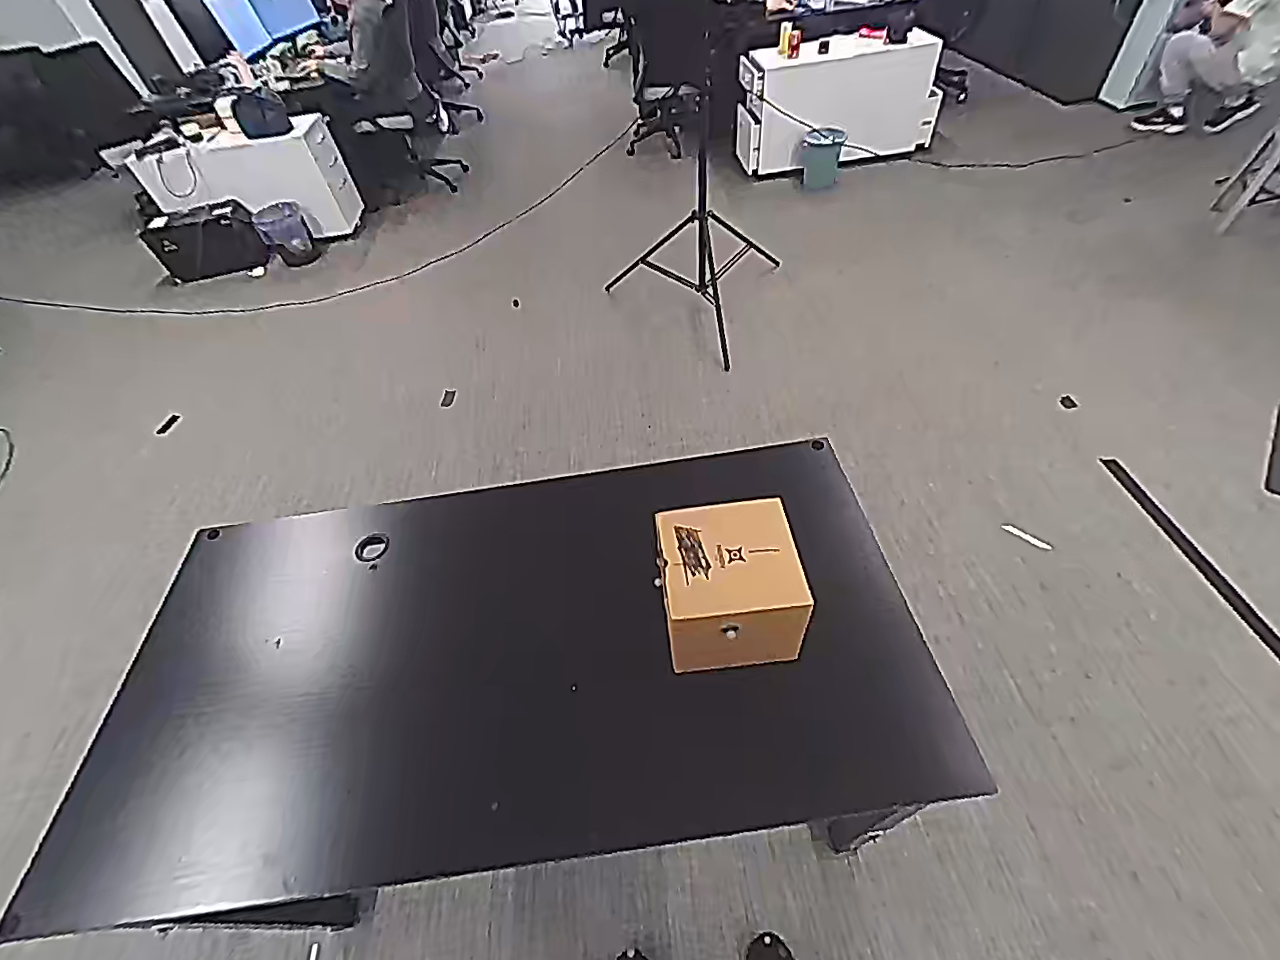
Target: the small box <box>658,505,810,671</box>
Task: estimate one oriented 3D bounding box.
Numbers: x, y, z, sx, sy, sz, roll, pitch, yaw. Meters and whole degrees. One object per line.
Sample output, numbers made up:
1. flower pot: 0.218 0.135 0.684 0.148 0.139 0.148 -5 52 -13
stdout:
1. small box: 0.125 0.158 0.768 0.179 0.176 0.168 -6 49 1
